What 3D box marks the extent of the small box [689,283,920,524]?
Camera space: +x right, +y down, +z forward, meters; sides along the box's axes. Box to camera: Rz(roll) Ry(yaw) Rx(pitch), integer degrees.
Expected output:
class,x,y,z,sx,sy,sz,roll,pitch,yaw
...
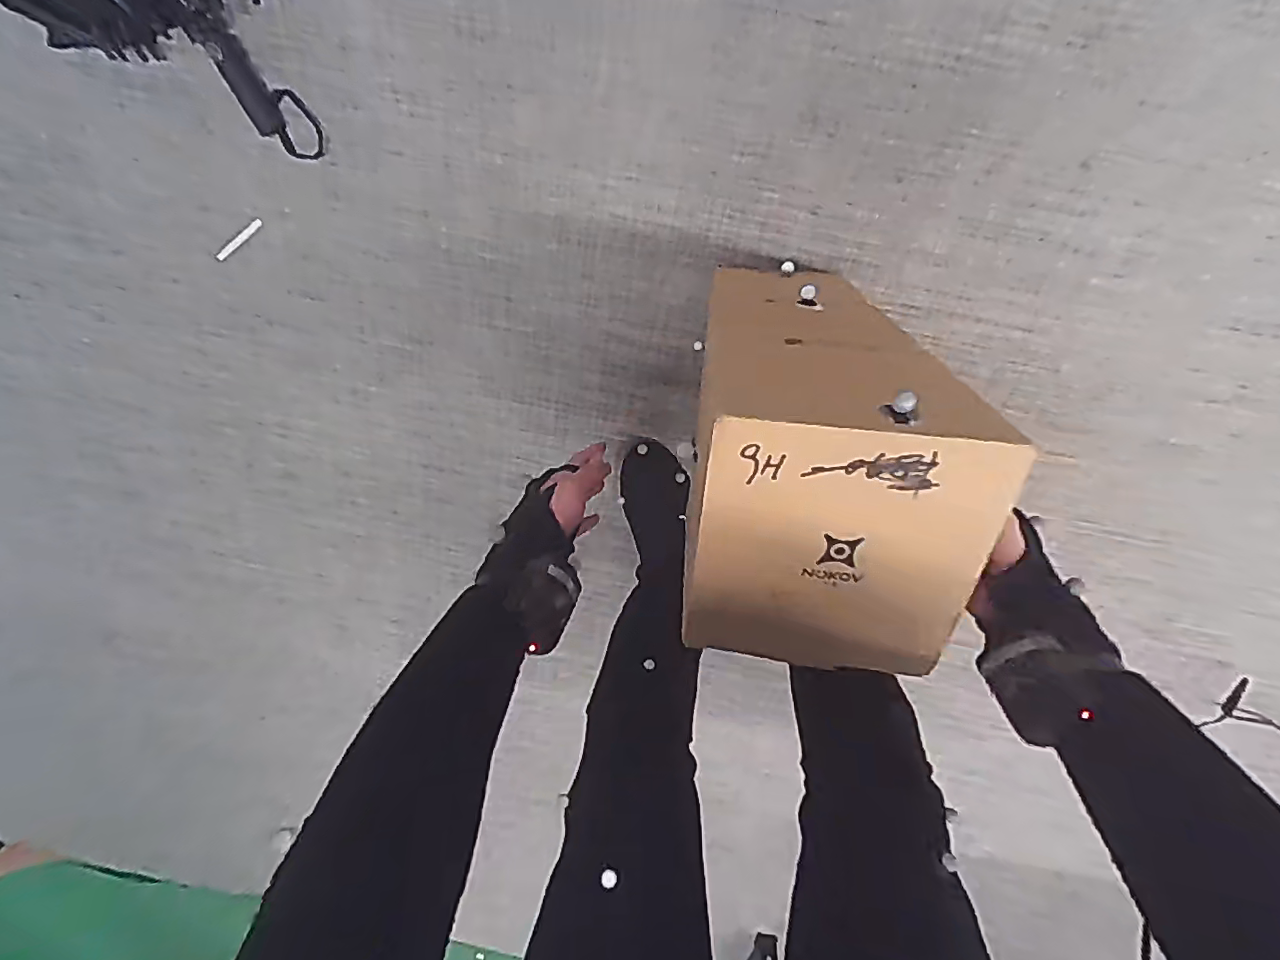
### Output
class,x,y,z,sx,sy,sz,roll,pitch,yaw
small box,0.139,-0.081,0.527,0.168,0.176,0.179,4,121,4

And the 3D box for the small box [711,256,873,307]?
class,x,y,z,sx,sy,sz,roll,pitch,yaw
small box,0.163,-0.164,0.664,0.168,0.176,0.179,6,121,5
